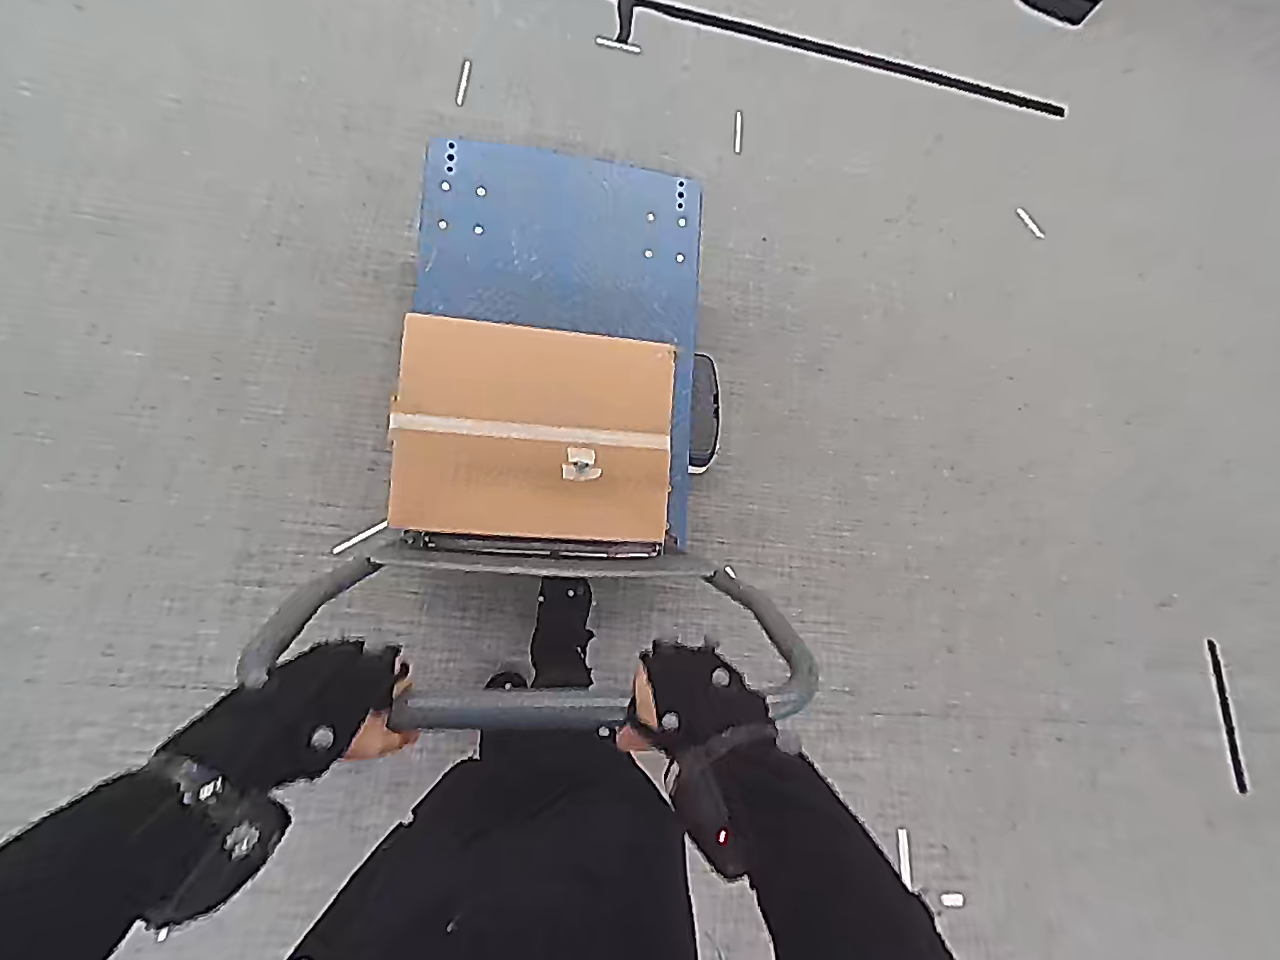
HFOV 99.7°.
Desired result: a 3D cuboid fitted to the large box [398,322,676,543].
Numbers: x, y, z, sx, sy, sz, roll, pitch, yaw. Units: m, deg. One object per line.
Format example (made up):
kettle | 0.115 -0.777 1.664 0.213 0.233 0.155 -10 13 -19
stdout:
large box | -0.175 -0.059 0.957 0.408 0.320 0.320 4 88 -11
